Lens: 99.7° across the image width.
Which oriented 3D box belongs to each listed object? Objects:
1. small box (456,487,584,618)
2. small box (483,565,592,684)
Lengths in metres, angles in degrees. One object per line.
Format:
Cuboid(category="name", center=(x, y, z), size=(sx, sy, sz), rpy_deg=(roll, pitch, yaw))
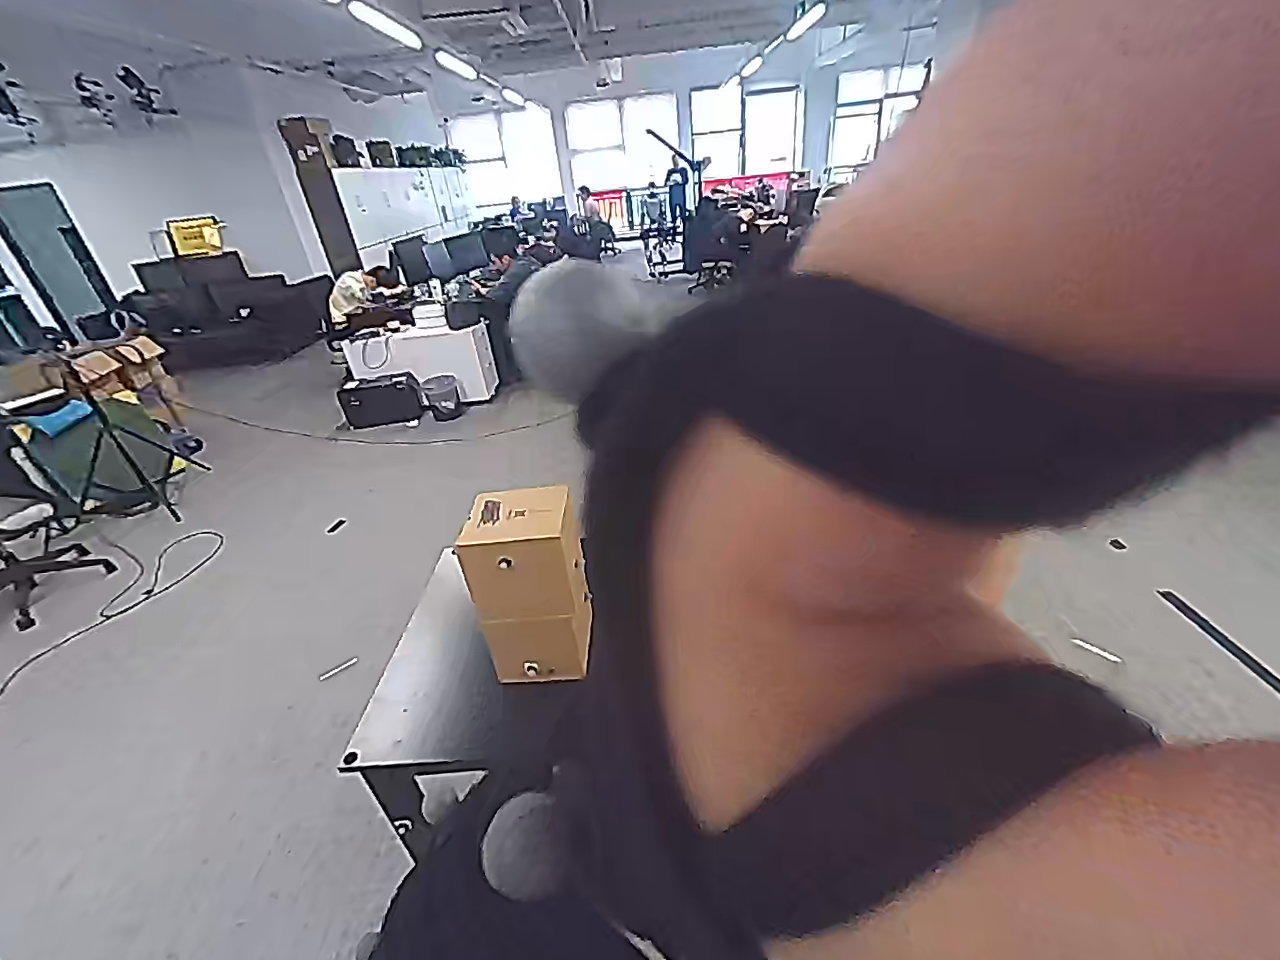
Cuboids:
Cuboid(category="small box", center=(-0.207, 0.132, 0.980), size=(0.179, 0.176, 0.168), rpy_deg=(-6, 30, 2))
Cuboid(category="small box", center=(-0.190, 0.273, 1.063), size=(0.168, 0.176, 0.179), rpy_deg=(-6, 31, 3))
